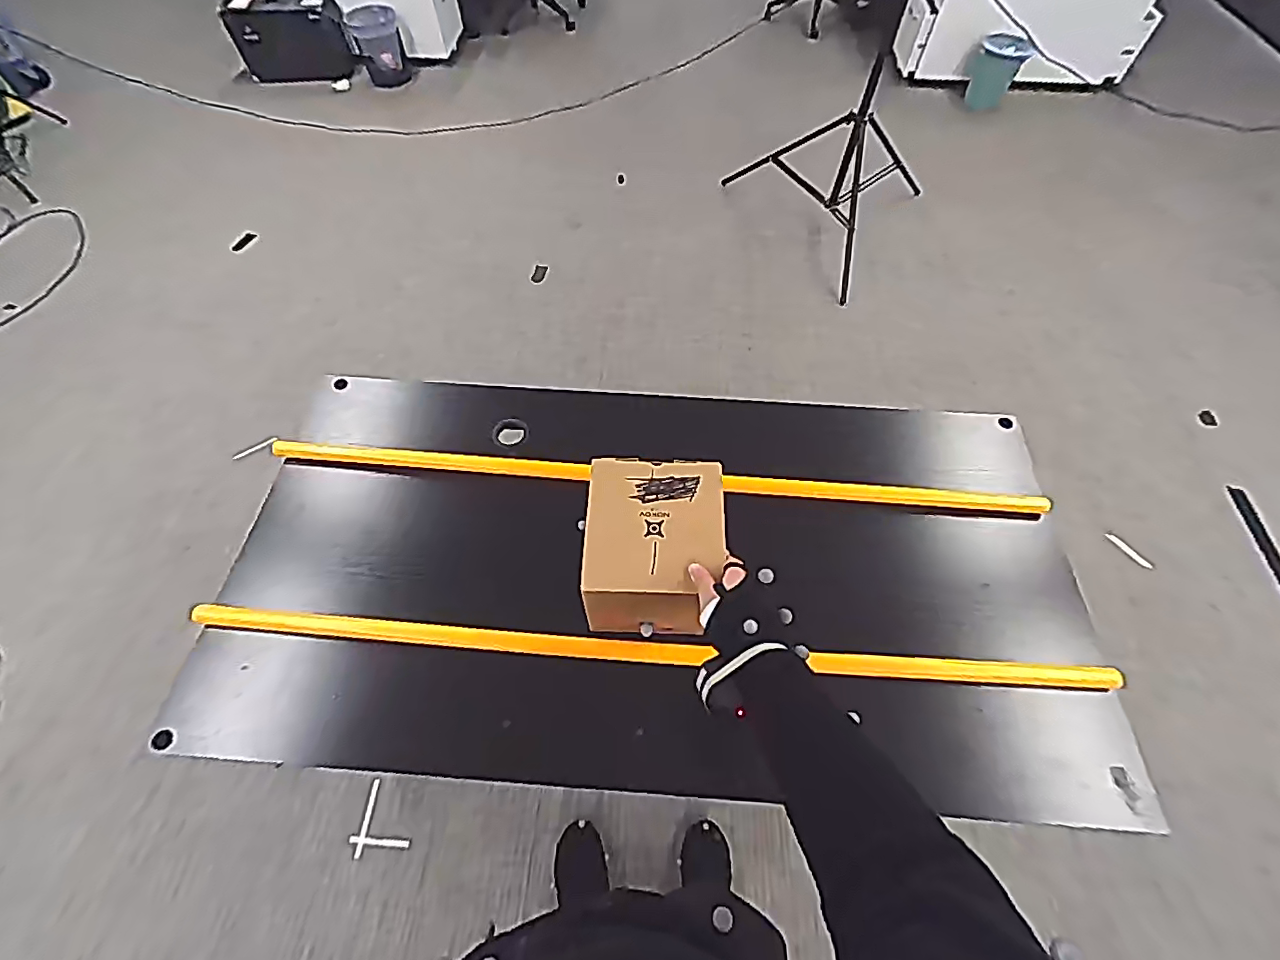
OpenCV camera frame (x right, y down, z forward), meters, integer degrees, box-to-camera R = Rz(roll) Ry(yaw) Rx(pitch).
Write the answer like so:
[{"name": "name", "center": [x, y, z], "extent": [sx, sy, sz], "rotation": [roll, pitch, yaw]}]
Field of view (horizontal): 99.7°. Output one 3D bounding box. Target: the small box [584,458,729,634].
[{"name": "small box", "center": [0.021, 0.090, 0.711], "extent": [0.168, 0.176, 0.179], "rotation": [2, 60, 1]}]
